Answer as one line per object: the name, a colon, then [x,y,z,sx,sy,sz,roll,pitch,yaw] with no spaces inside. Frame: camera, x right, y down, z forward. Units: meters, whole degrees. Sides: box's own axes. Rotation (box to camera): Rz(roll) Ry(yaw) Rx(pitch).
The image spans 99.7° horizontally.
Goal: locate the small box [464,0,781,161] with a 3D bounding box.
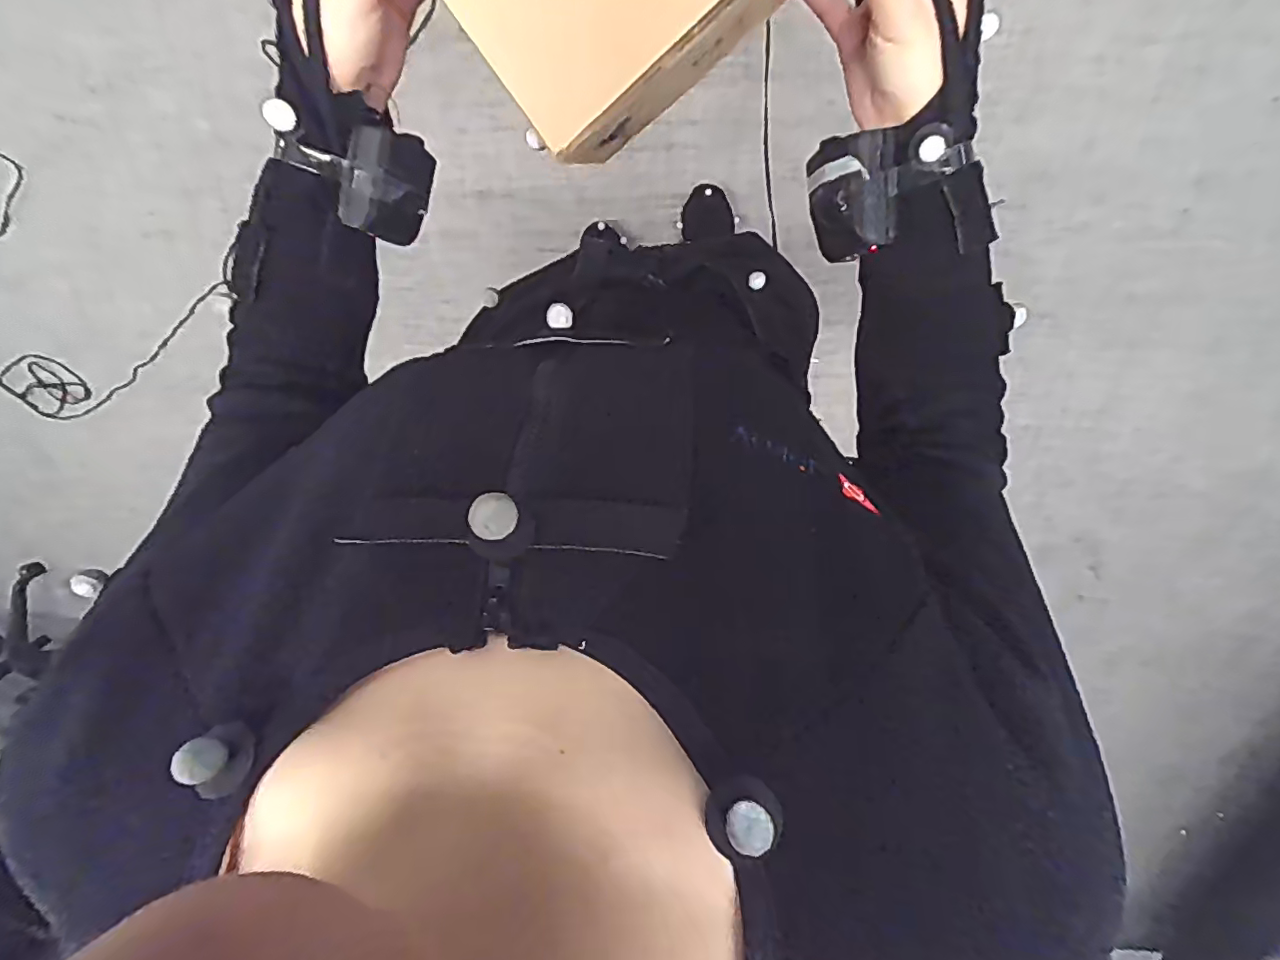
small box: [-0.010,-0.278,0.238,0.179,0.168,0.176,-33,112,19]
